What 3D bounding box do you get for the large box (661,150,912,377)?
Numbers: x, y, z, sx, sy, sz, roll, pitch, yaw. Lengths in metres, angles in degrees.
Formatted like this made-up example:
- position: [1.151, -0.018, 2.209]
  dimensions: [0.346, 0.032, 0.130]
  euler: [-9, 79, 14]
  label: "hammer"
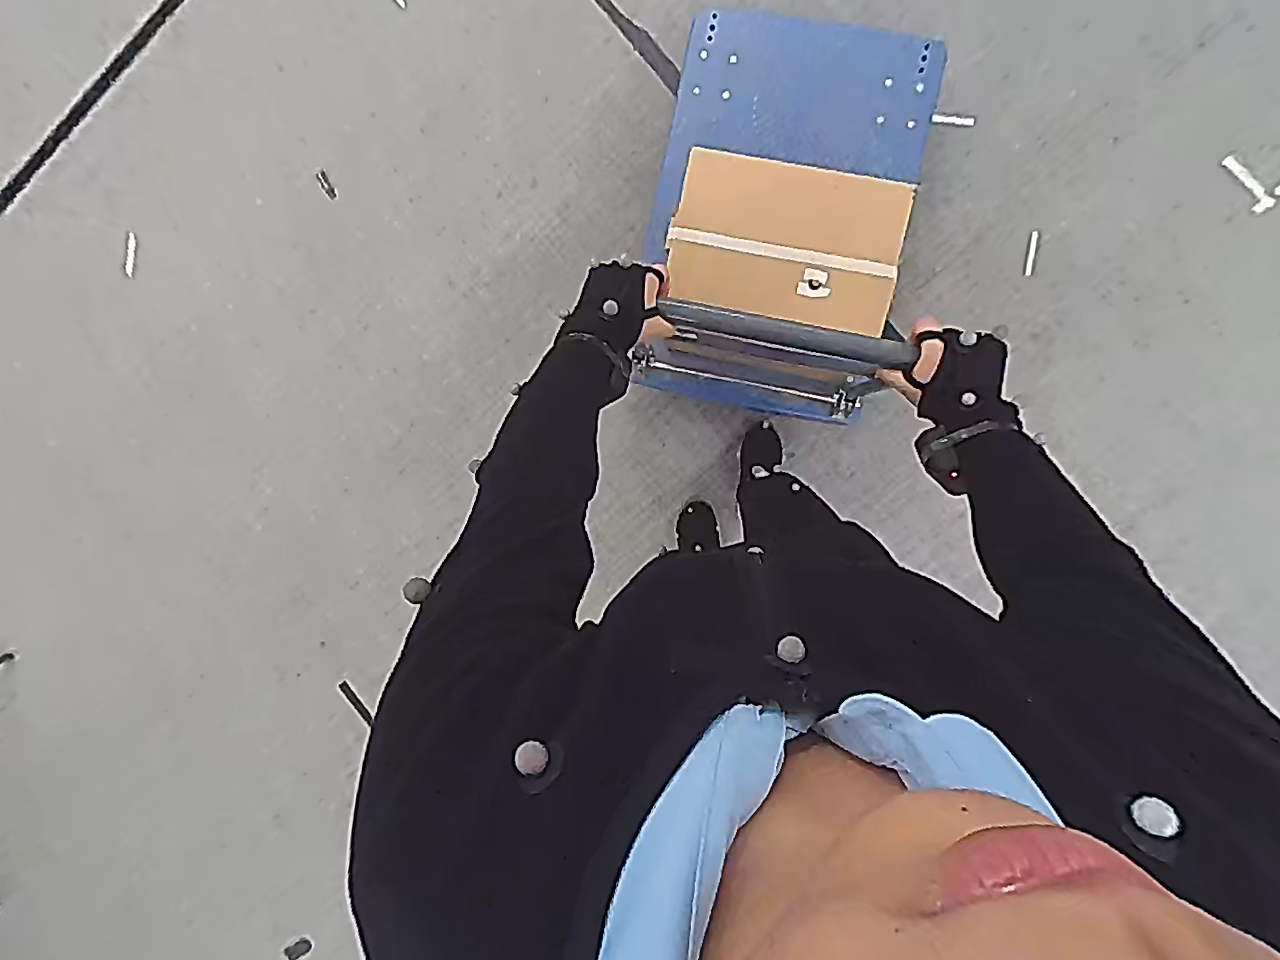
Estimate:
- position: [0.268, -0.420, 1.125]
  dimensions: [0.408, 0.320, 0.320]
  euler: [12, 95, 3]
  label: "large box"
